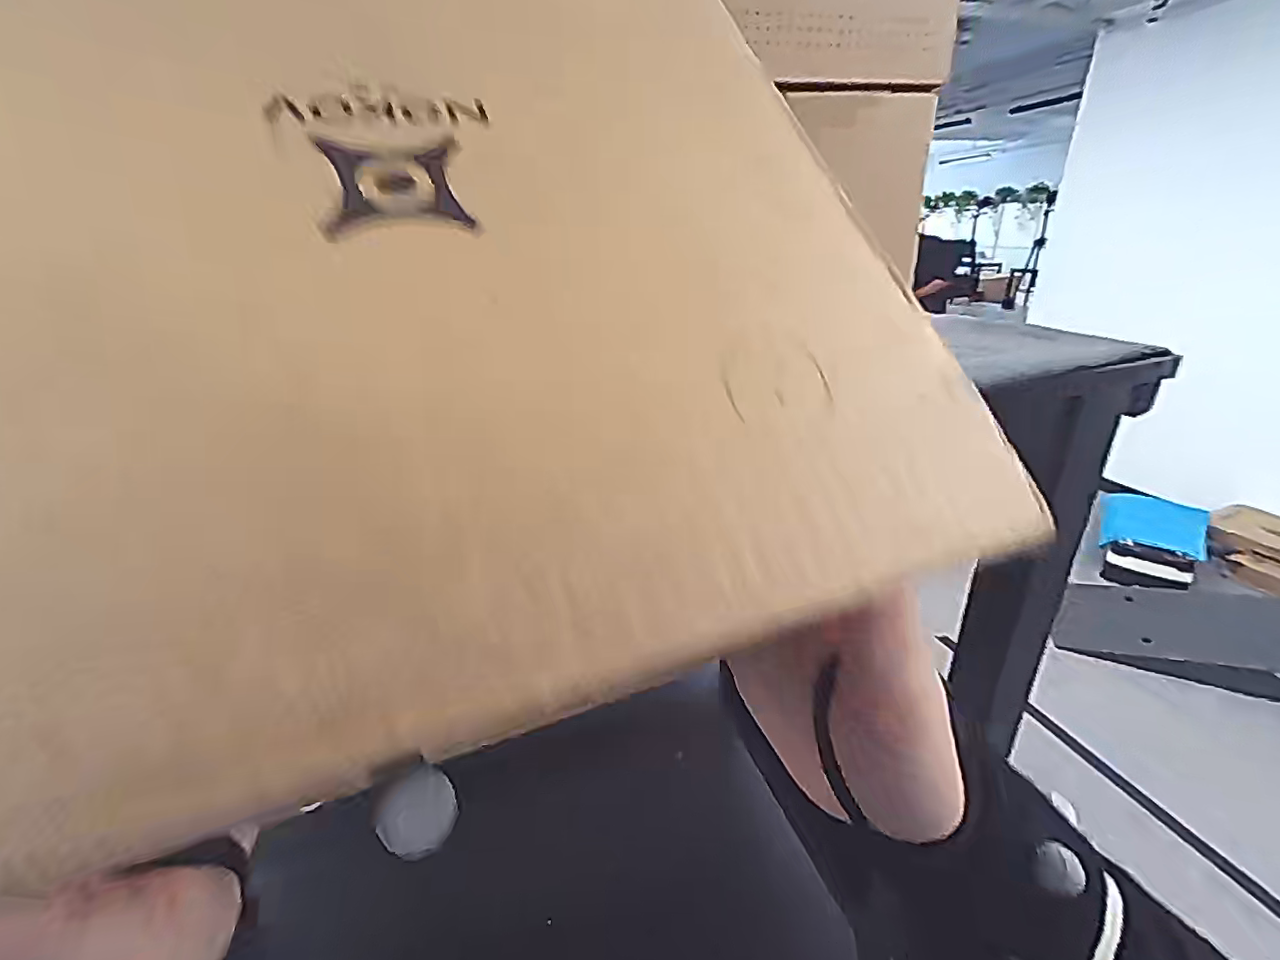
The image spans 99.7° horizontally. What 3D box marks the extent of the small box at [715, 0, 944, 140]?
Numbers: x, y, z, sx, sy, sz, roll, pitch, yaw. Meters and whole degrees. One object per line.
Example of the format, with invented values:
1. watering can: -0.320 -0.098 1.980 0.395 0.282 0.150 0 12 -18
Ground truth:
1. small box: 0.076 -0.325 0.348 0.179 0.176 0.168 -10 23 -13

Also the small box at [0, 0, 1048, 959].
1. small box: -0.053 -0.009 0.160 0.168 0.176 0.179 -13 67 -18
